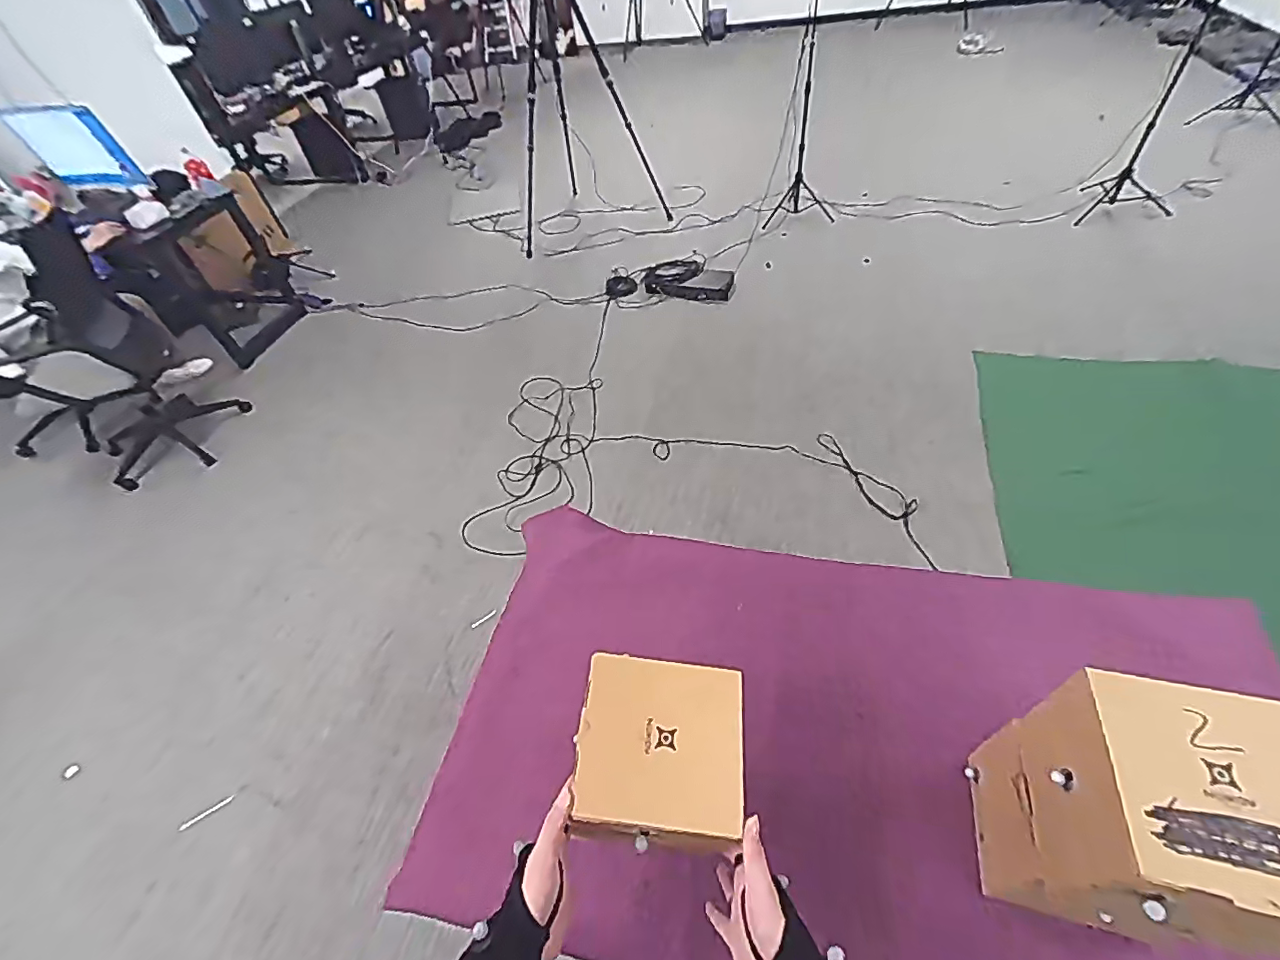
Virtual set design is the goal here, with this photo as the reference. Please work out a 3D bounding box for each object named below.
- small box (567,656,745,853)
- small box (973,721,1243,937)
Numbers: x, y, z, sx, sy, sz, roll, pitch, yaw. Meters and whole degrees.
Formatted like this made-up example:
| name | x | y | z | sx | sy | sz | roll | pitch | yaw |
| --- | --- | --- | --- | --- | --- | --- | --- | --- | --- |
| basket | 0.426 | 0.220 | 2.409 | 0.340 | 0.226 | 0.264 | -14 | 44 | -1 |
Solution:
| name | x | y | z | sx | sy | sz | roll | pitch | yaw |
| --- | --- | --- | --- | --- | --- | --- | --- | --- | --- |
| small box | 0.018 | 0.325 | 0.633 | 0.179 | 0.176 | 0.168 | 6 | 51 | 1 |
| small box | 0.519 | 0.415 | 0.641 | 0.179 | 0.176 | 0.168 | 8 | 50 | 14 |
